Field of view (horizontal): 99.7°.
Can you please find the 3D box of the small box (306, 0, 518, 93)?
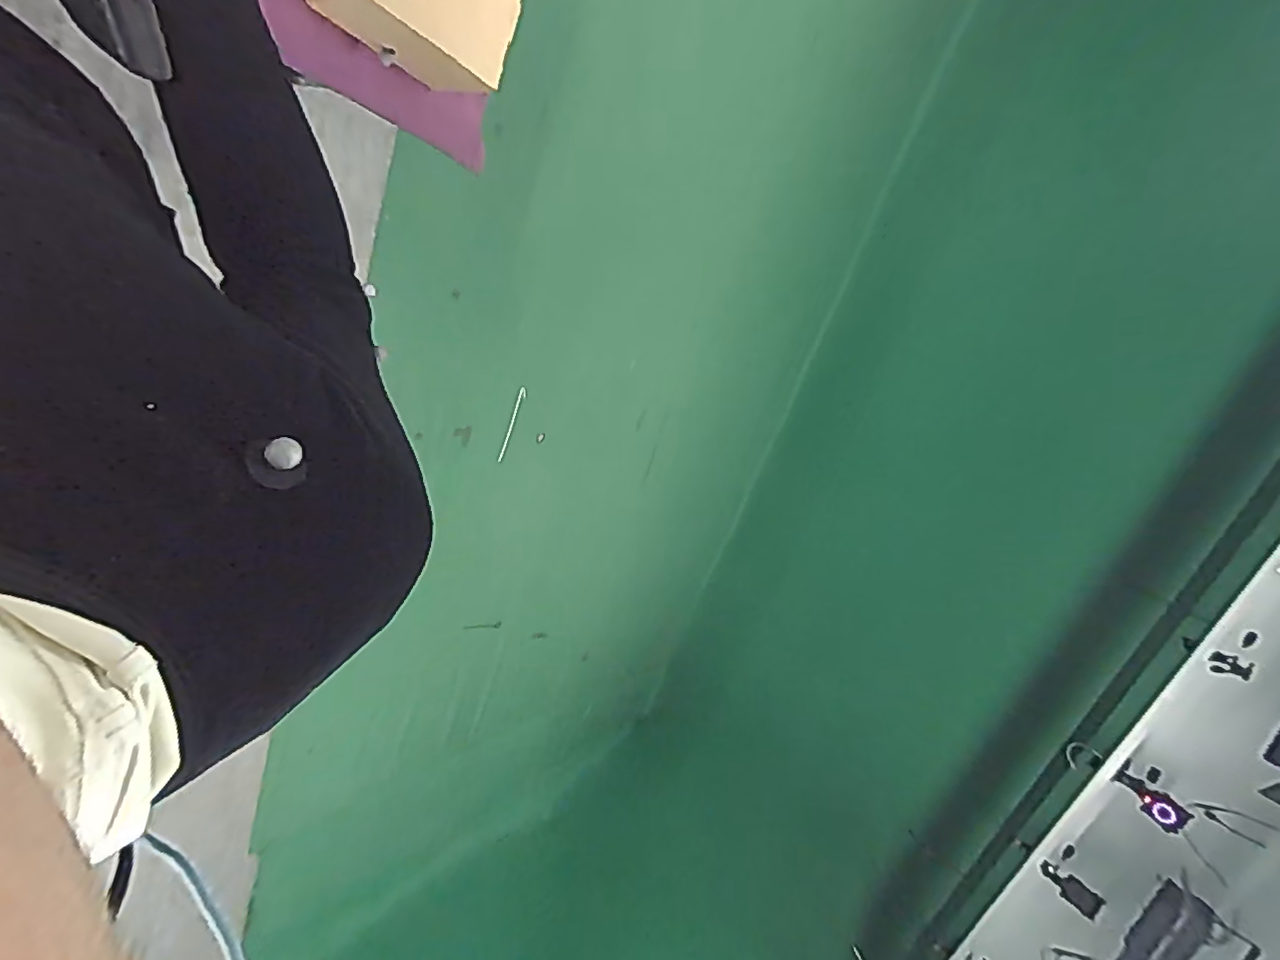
[{"bbox_3d":[-0.272,-0.613,0.658,0.179,0.176,0.168,3,113,-54],"label":"small box"}]
